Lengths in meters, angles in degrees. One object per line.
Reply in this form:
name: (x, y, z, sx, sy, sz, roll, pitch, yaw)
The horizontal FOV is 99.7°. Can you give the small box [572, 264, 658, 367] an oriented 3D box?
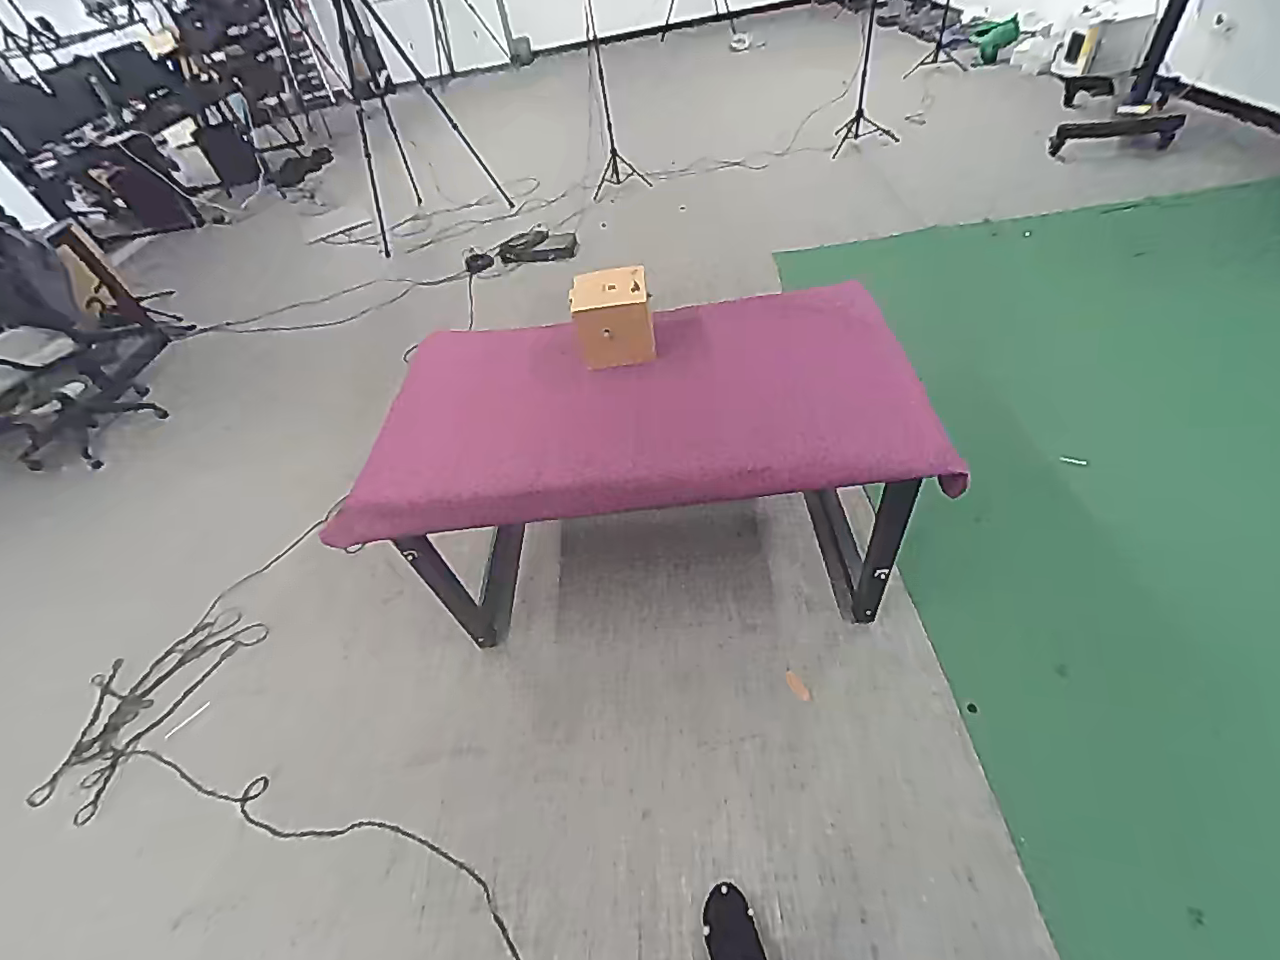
small box: (-0.056, -0.393, 1.311, 0.179, 0.176, 0.168, -7, 49, 6)
